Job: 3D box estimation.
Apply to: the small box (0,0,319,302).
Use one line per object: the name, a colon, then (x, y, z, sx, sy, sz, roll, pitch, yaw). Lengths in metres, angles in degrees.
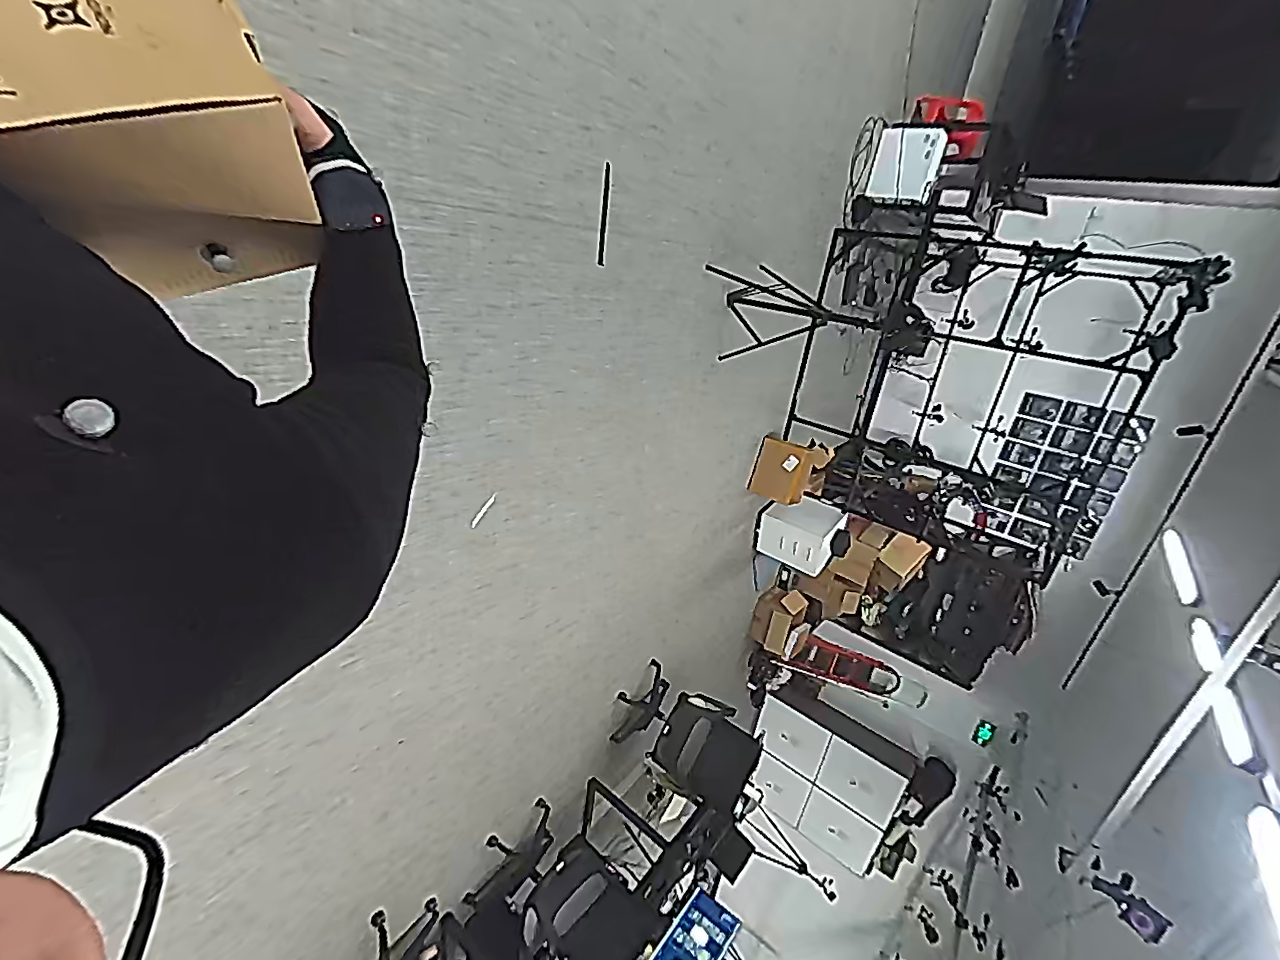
small box: (-0.388, -0.277, 0.439, 0.179, 0.168, 0.176, -27, 172, -25)
